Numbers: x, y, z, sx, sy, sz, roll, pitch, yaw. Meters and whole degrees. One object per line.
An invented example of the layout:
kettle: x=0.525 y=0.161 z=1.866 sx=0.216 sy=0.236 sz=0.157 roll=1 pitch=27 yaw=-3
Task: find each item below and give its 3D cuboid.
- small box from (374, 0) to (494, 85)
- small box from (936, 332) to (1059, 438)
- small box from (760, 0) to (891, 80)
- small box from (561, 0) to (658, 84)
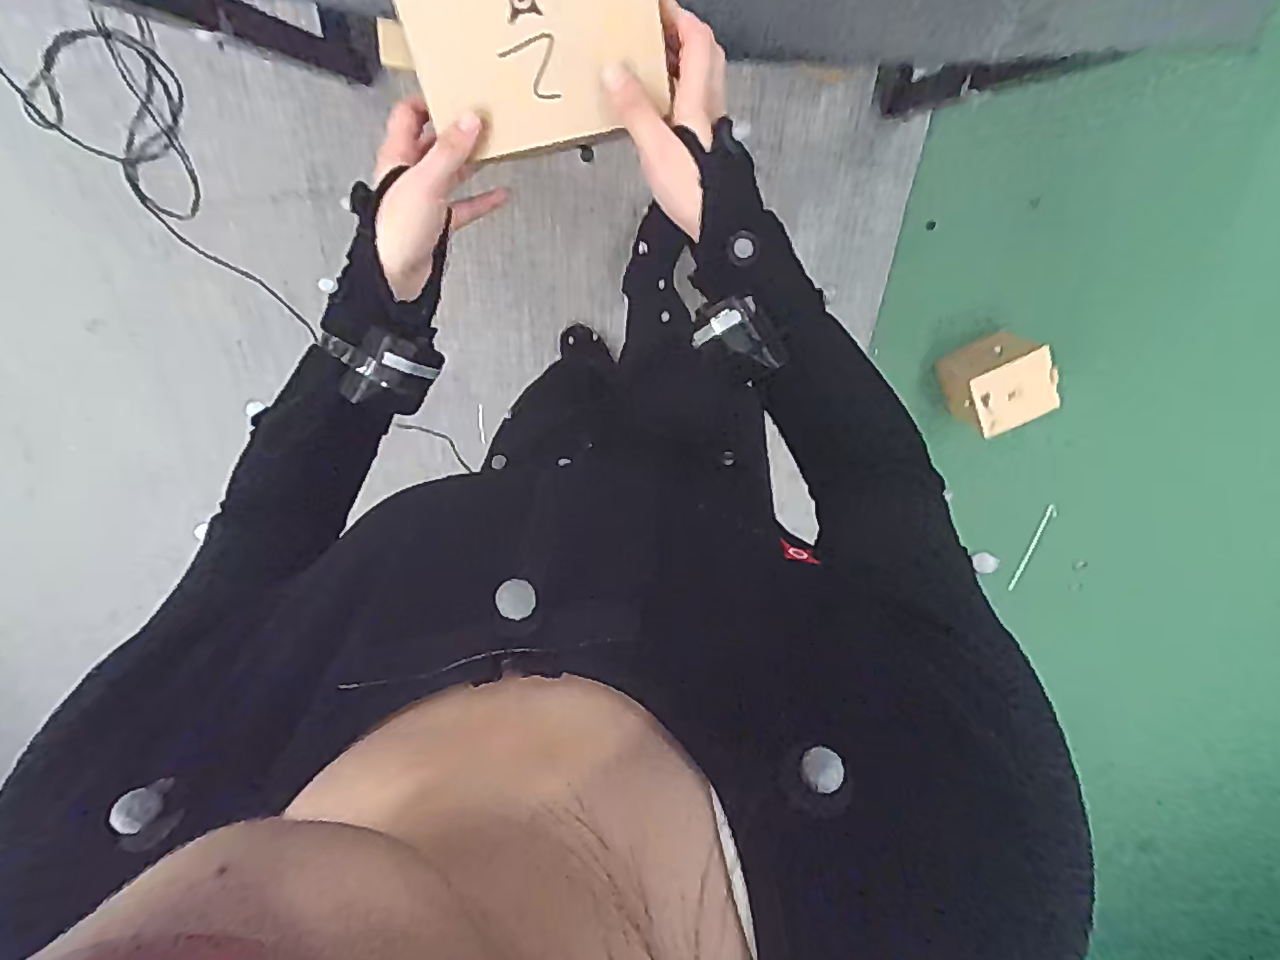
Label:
small box: x=-0.370 y=-0.850 z=0.993 sx=0.168 sy=0.176 sz=0.179 roll=7 pitch=118 yaw=-3
small box: x=0.862 y=-0.236 z=1.314 sx=0.179 sy=0.176 sz=0.168 roll=-26 pitch=115 yaw=13
small box: x=0.336 y=-0.854 z=0.978 sx=0.179 sy=0.176 sz=0.168 roll=14 pitch=119 yaw=-8
small box: x=-0.052 y=-0.844 z=0.989 sx=0.168 sy=0.176 sz=0.179 roll=1 pitch=118 yaw=0
